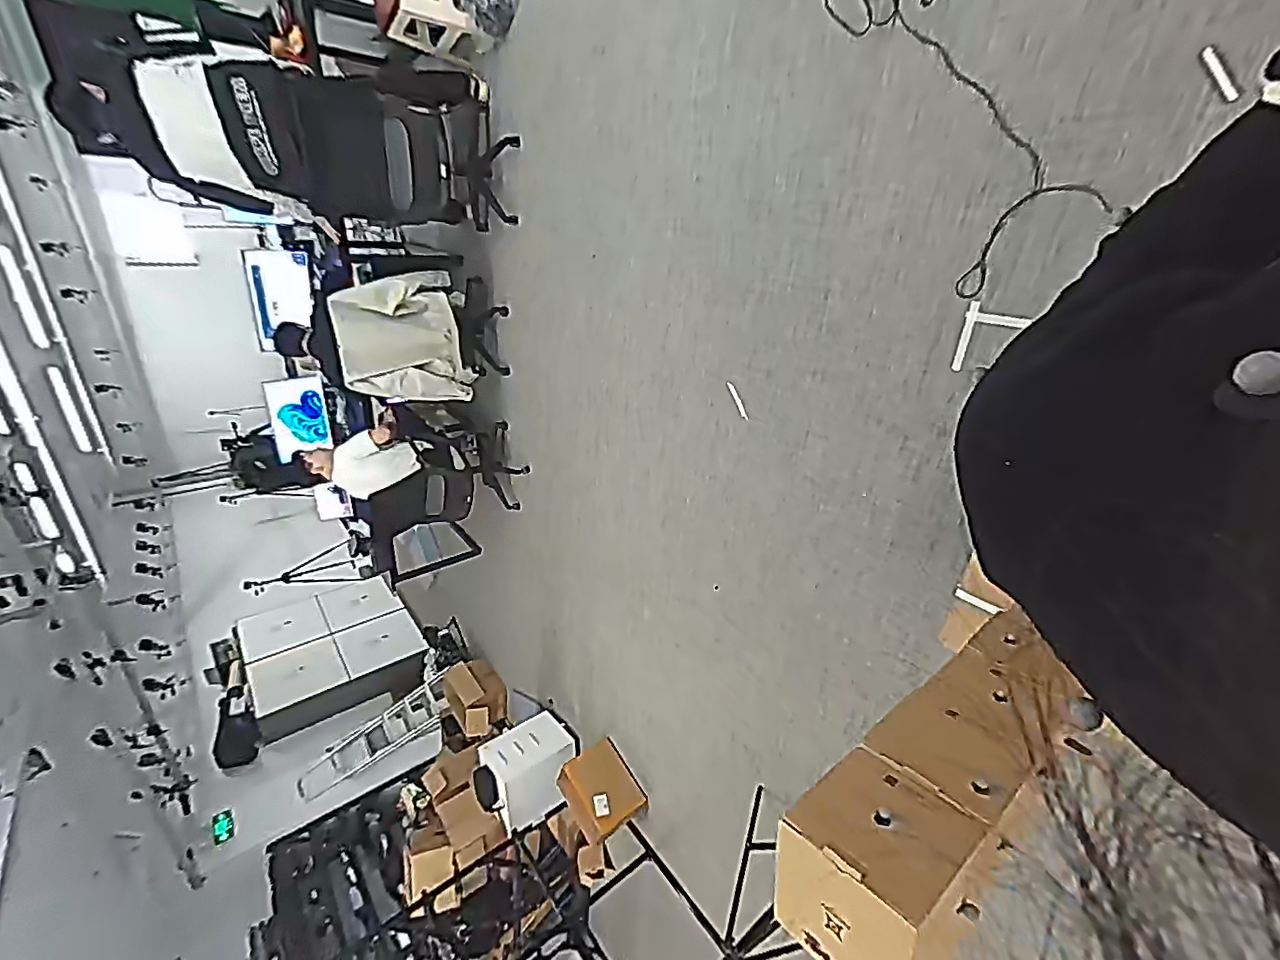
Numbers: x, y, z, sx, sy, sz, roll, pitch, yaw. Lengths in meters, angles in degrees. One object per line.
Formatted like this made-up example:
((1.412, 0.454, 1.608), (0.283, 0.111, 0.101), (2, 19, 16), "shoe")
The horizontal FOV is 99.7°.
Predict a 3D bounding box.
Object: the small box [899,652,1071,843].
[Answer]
((0.542, 0.404, 0.852), (0.168, 0.176, 0.179), (24, 121, 48), "small box")

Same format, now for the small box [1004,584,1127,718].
((0.795, 0.332, 1.046), (0.168, 0.176, 0.179), (29, 125, 43), "small box")

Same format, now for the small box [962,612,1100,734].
((0.667, 0.362, 0.951), (0.168, 0.176, 0.179), (29, 126, 45), "small box")

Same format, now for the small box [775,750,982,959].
((0.288, 0.474, 0.657), (0.168, 0.176, 0.179), (19, 117, 49), "small box")
